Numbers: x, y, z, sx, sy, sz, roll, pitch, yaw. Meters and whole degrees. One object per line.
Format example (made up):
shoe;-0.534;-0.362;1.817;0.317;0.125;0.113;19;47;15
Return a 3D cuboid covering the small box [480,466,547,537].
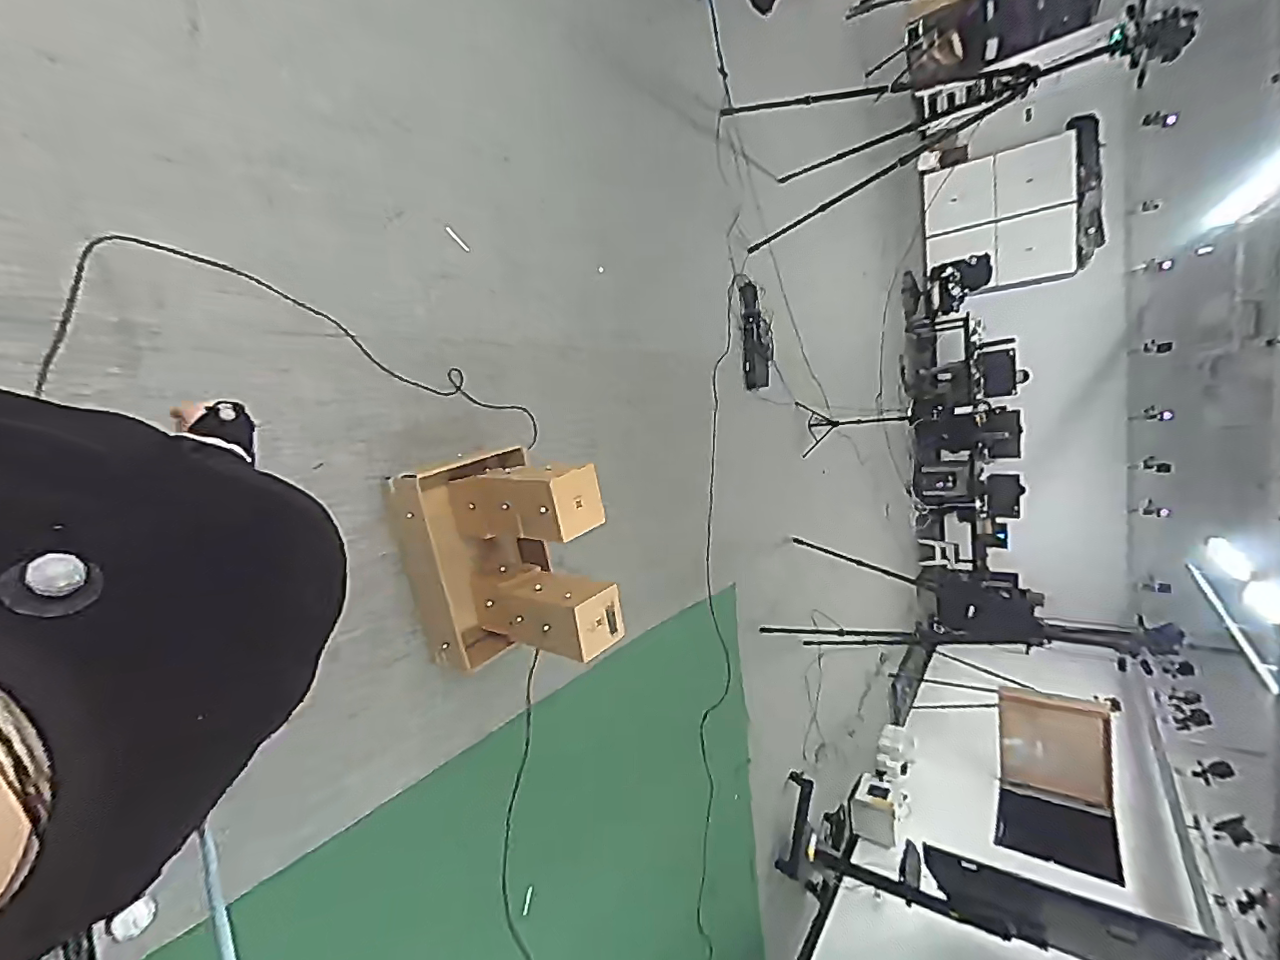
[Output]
small box;-0.351;0.060;1.598;0.168;0.176;0.179;-19;106;-49

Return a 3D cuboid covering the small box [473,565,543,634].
small box;-0.421;0.385;1.766;0.168;0.176;0.179;-20;104;-50

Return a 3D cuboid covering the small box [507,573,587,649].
small box;-0.291;0.397;1.665;0.179;0.176;0.168;-21;106;-51

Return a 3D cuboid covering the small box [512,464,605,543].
small box;-0.225;0.059;1.496;0.168;0.176;0.179;-26;109;-47
